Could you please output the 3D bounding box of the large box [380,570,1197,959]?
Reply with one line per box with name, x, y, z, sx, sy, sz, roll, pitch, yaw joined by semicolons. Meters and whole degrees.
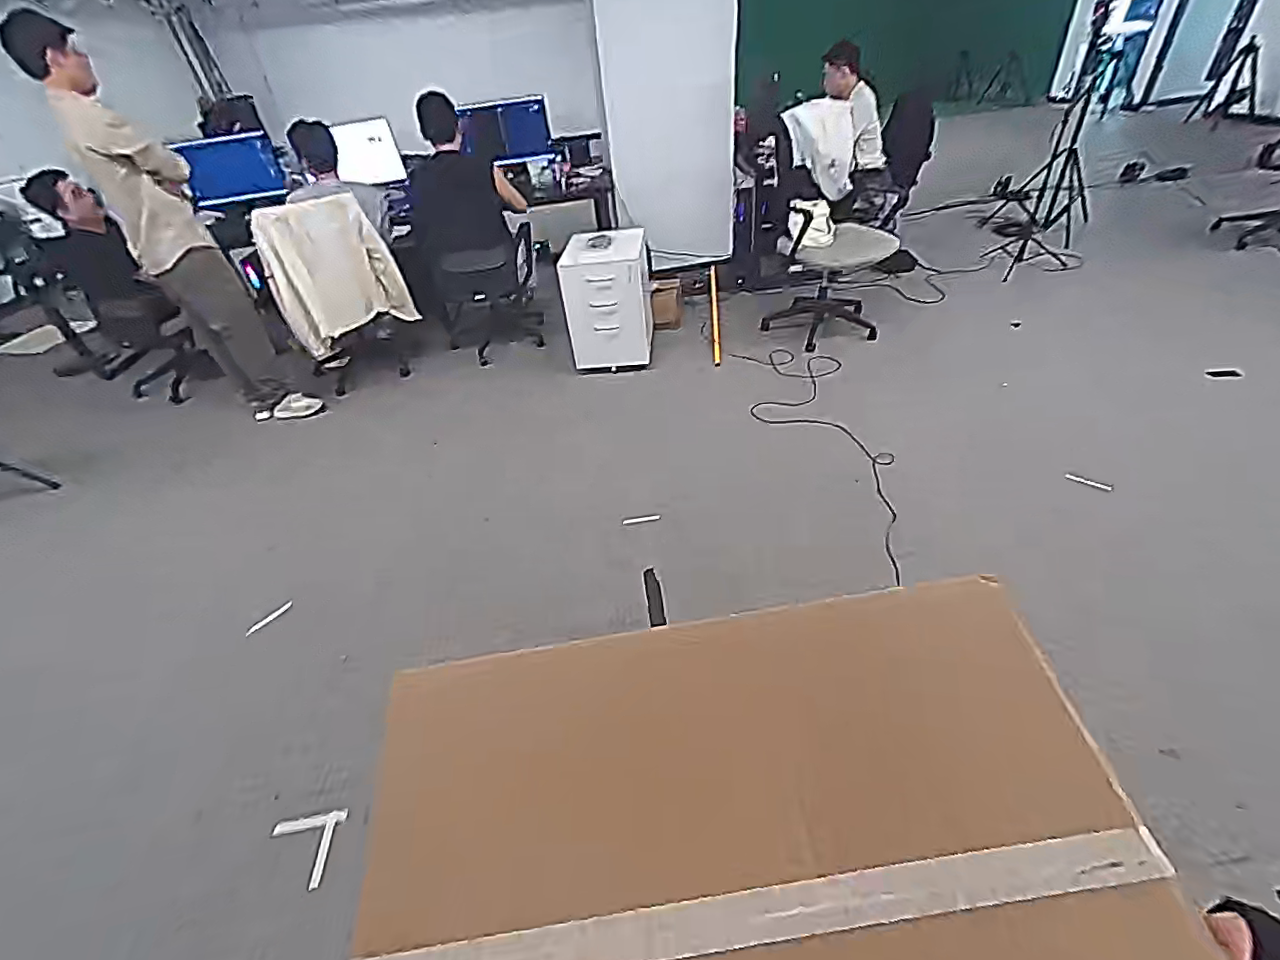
large box;0.071;0.306;0.401;0.408;0.320;0.320;-10;53;0
